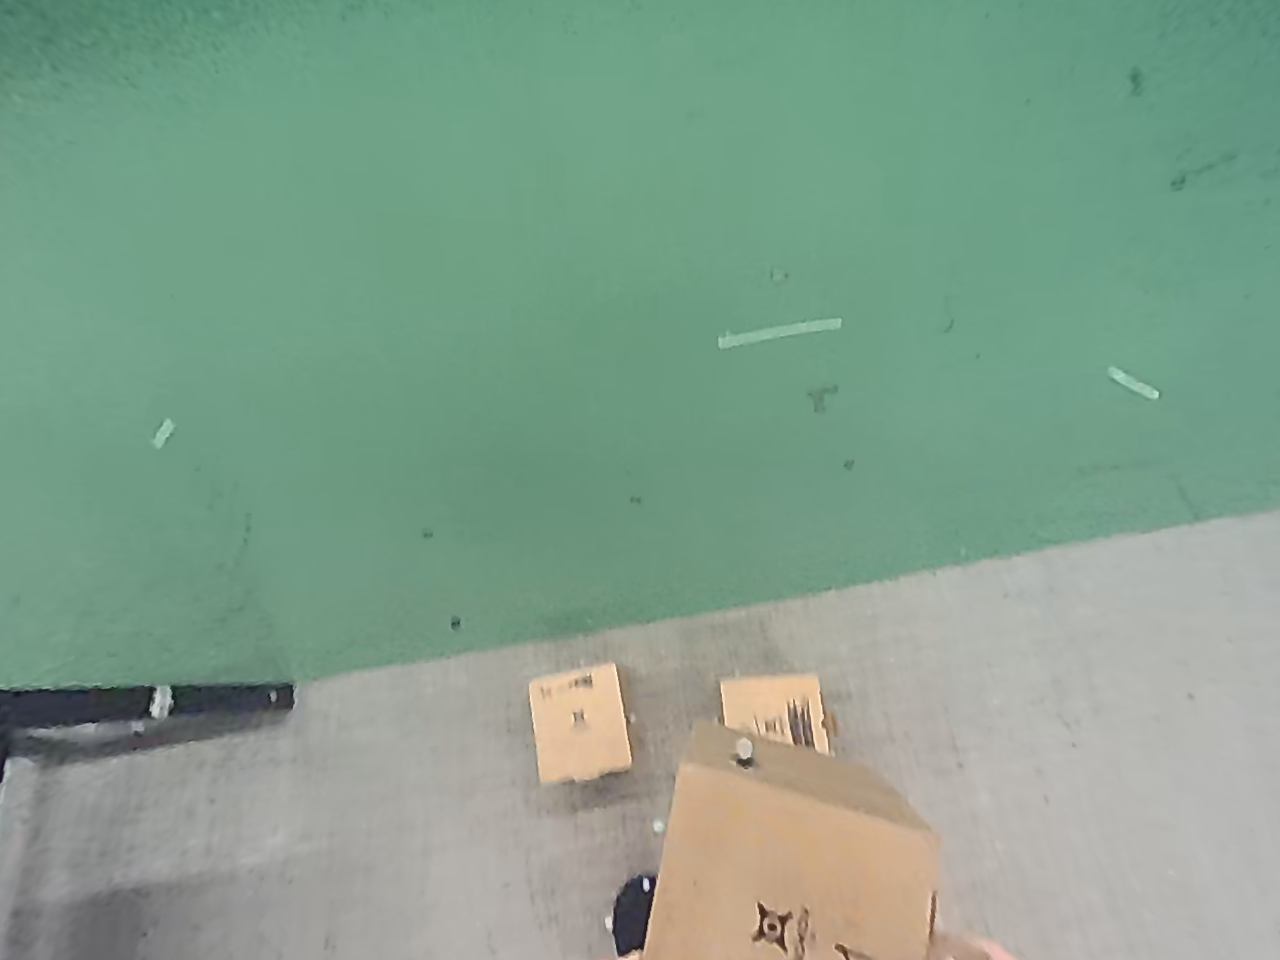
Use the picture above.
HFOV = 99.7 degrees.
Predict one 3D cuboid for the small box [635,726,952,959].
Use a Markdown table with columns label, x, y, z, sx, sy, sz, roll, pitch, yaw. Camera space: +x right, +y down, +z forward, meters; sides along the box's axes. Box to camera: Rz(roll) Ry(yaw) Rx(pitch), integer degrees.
| label | x | y | z | sx | sy | sz | roll | pitch | yaw |
| --- | --- | --- | --- | --- | --- | --- | --- | --- | --- |
| small box | 0.104 | 0.302 | 0.409 | 0.179 | 0.176 | 0.168 | 10 | 79 | 12 |

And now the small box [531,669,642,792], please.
| label | x | y | z | sx | sy | sz | roll | pitch | yaw |
| --- | --- | --- | --- | --- | --- | --- | --- | --- | --- |
| small box | -0.095 | 0.460 | 1.019 | 0.168 | 0.176 | 0.179 | -12 | 69 | 1 |
